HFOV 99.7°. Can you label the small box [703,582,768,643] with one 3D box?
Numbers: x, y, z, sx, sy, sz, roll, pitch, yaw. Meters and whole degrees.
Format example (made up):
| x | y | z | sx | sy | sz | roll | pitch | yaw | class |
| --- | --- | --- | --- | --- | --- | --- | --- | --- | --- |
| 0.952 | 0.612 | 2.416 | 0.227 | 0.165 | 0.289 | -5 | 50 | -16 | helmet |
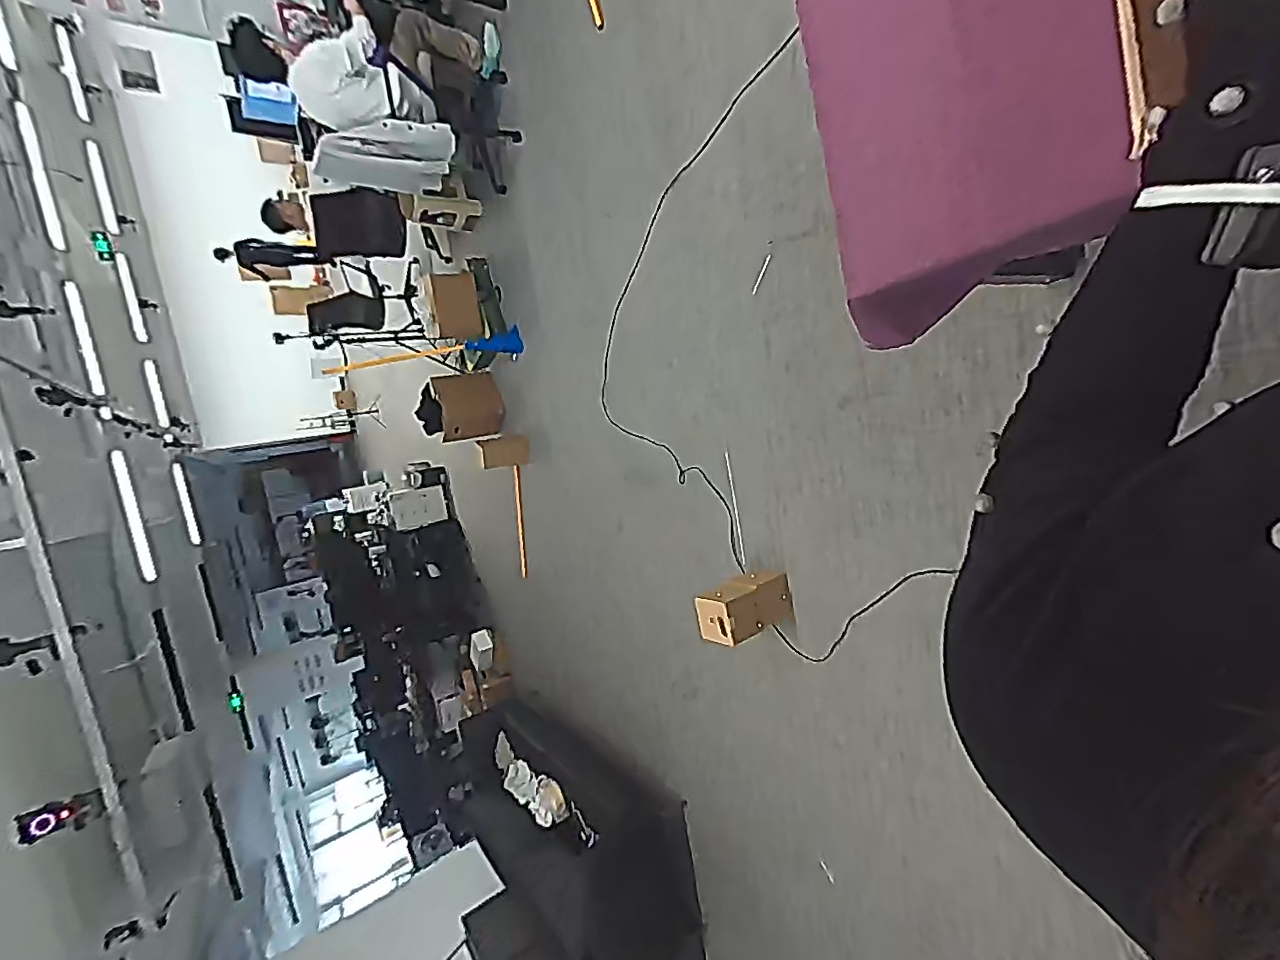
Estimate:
| x | y | z | sx | sy | sz | roll | pitch | yaw | class |
| --- | --- | --- | --- | --- | --- | --- | --- | --- | --- |
| 0.369 | 0.497 | 2.055 | 0.179 | 0.176 | 0.168 | -7 | 96 | 58 | small box |
